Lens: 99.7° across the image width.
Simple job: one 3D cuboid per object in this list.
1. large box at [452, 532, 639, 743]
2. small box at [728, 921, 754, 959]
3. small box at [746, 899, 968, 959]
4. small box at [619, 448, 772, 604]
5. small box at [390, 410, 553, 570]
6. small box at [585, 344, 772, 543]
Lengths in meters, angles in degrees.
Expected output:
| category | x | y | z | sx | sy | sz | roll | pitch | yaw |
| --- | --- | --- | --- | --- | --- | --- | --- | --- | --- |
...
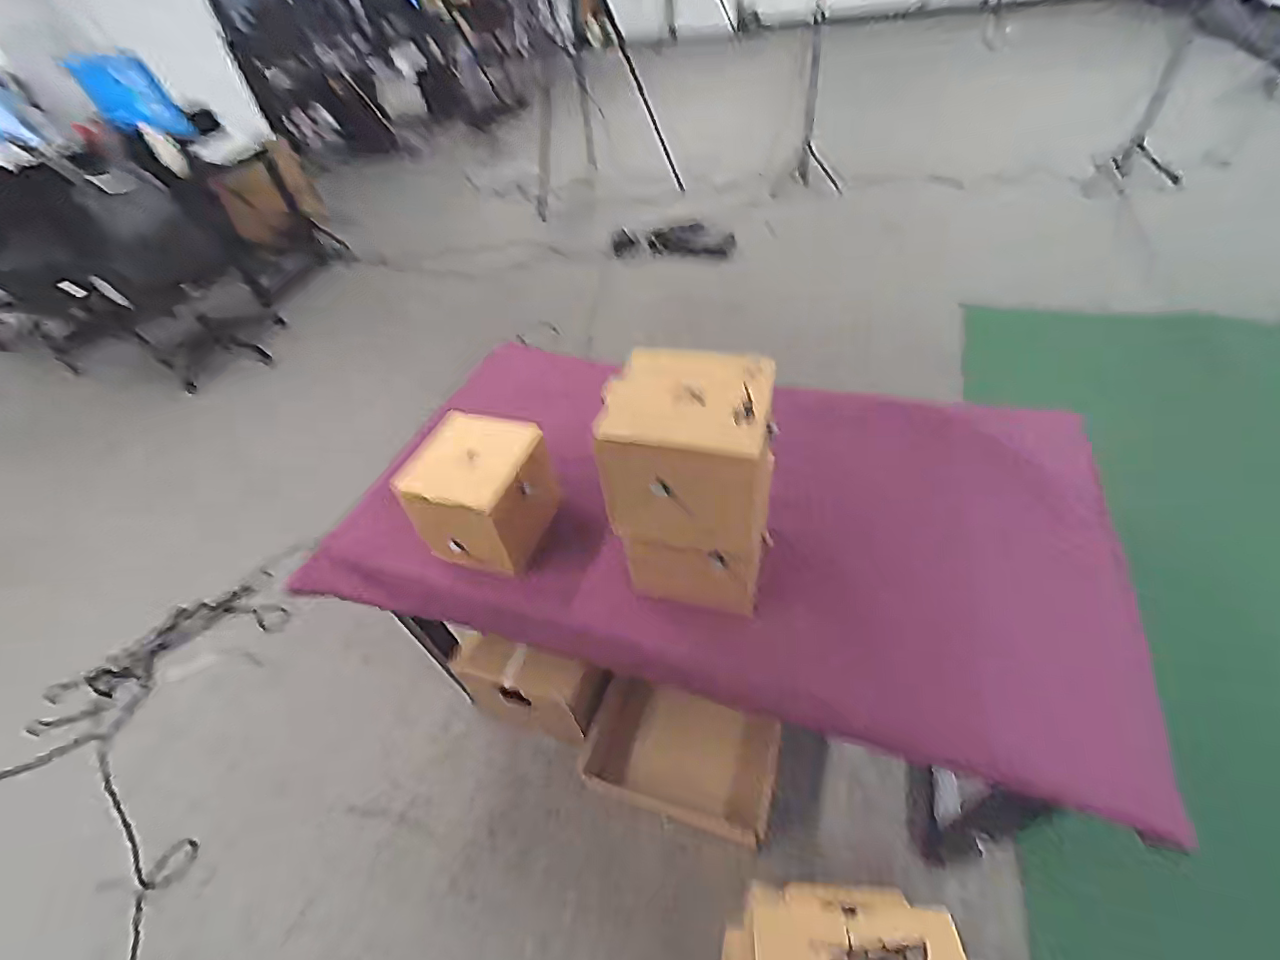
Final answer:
| category | x | y | z | sx | sy | sz | roll | pitch | yaw |
| --- | --- | --- | --- | --- | --- | --- | --- | --- | --- |
| large box | -0.212 | 0.399 | 1.412 | 0.320 | 0.320 | 0.408 | 9 | 51 | 16 |
| small box | 0.176 | 0.587 | 0.546 | 0.168 | 0.176 | 0.179 | -2 | 32 | 3 |
| small box | 0.172 | 0.469 | 0.422 | 0.168 | 0.176 | 0.179 | -1 | 34 | 5 |
| small box | 0.084 | 0.056 | 0.772 | 0.179 | 0.176 | 0.168 | 8 | 48 | 17 |
| small box | -0.253 | 0.015 | 0.866 | 0.168 | 0.176 | 0.179 | 10 | 50 | 17 |
| small box | 0.056 | -0.043 | 0.643 | 0.179 | 0.176 | 0.168 | 7 | 49 | 16 |
